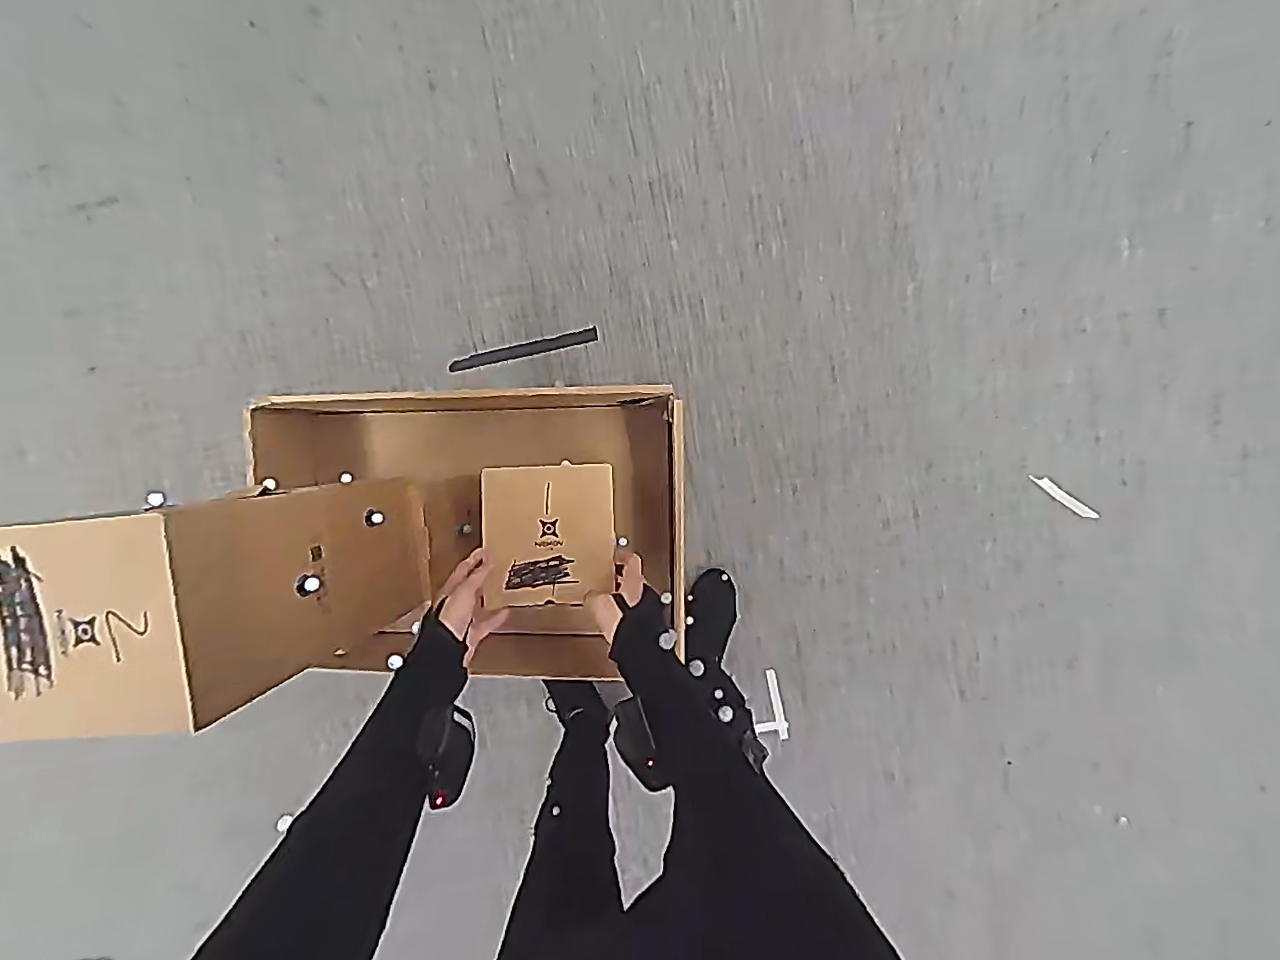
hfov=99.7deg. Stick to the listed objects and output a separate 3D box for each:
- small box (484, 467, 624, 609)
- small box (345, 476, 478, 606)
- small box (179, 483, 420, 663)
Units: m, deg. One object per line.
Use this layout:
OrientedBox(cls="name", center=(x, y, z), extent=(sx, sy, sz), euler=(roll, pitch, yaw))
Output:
OrientedBox(cls="small box", center=(-0.110, 0.076, 0.749), extent=(0.168, 0.176, 0.179), euler=(-2, 86, 1))
OrientedBox(cls="small box", center=(-0.360, 0.085, 0.802), extent=(0.179, 0.176, 0.168), euler=(-4, 95, 5))
OrientedBox(cls="small box", center=(-0.385, 0.097, 0.640), extent=(0.168, 0.176, 0.179), euler=(-6, 93, 6))
